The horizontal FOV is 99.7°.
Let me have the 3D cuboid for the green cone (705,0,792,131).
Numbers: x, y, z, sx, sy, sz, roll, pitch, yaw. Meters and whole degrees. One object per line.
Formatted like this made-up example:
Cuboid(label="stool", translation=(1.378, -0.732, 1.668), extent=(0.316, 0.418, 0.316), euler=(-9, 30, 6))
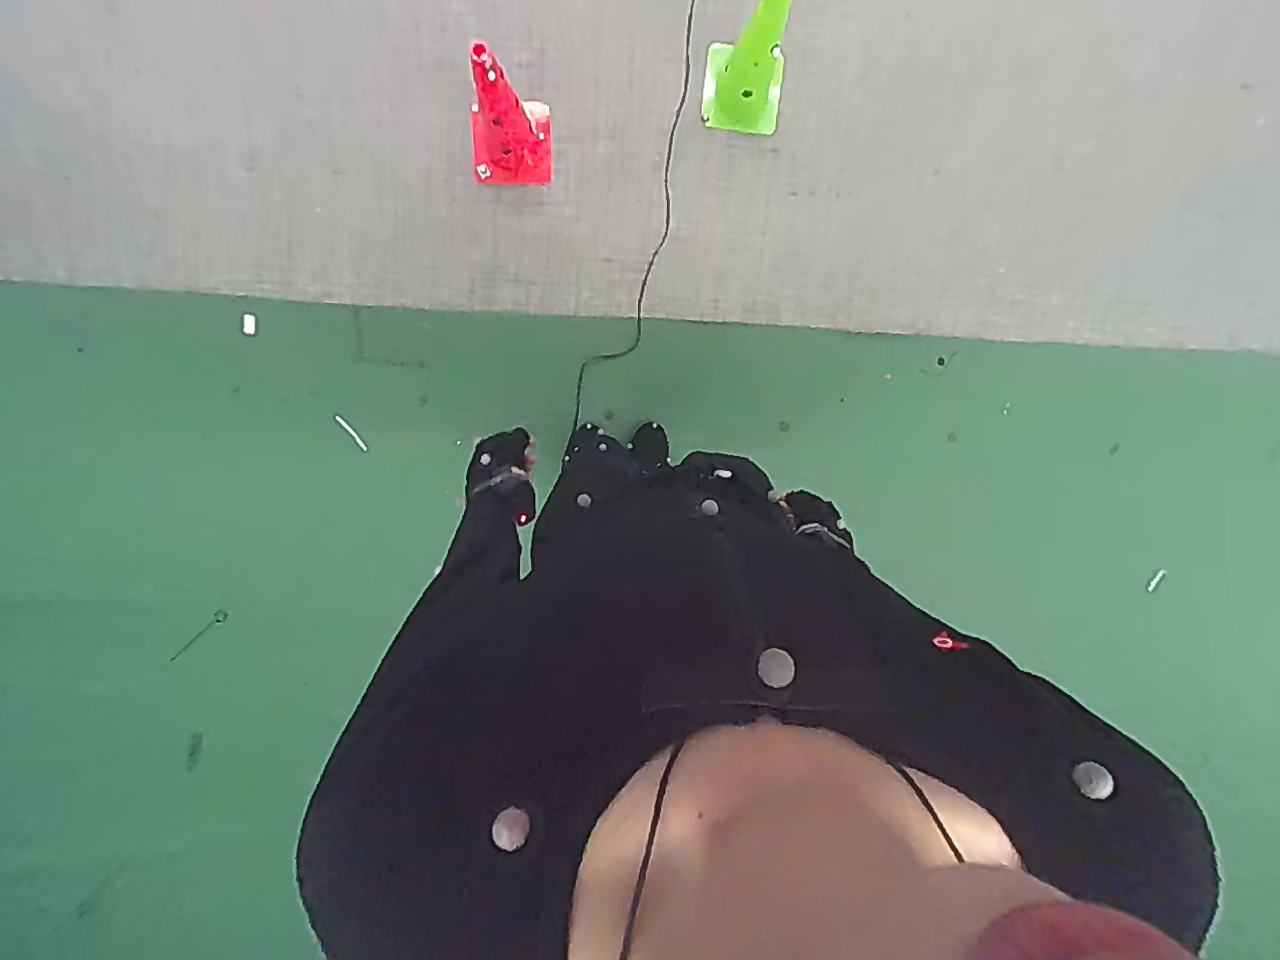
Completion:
Cuboid(label="green cone", translation=(0.282, -0.996, 1.225), extent=(0.200, 0.368, 0.202), euler=(5, 96, -4))
